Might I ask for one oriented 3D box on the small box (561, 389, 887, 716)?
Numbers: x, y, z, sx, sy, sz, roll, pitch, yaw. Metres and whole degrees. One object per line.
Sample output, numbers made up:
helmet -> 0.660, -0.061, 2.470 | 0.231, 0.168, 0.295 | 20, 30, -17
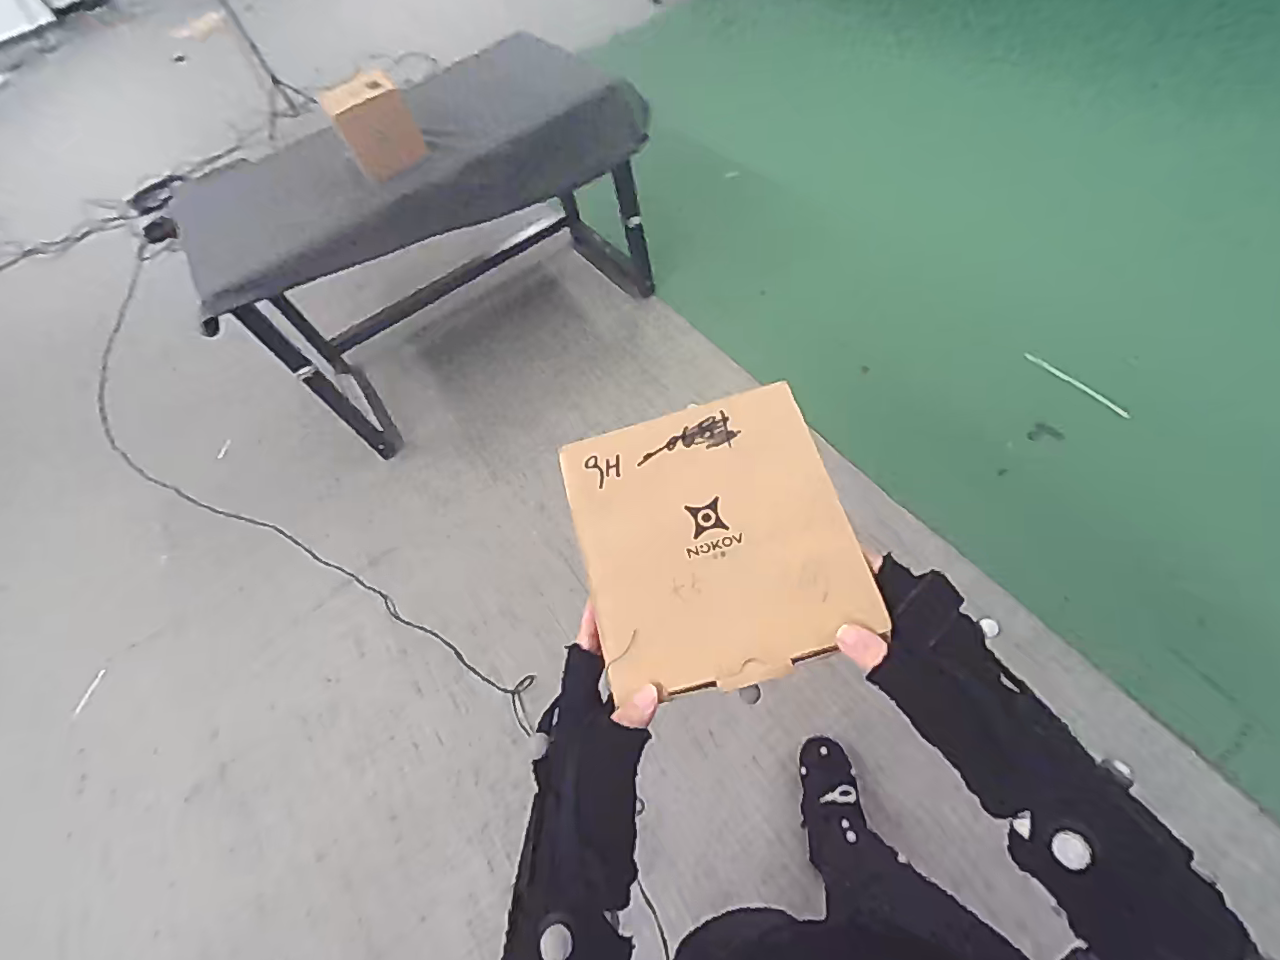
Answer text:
small box -> 0.054, 0.064, 0.415 | 0.168, 0.176, 0.179 | -17, 68, 1

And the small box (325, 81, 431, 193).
small box -> -0.672, -0.890, 1.407 | 0.179, 0.176, 0.168 | -33, 57, -8
